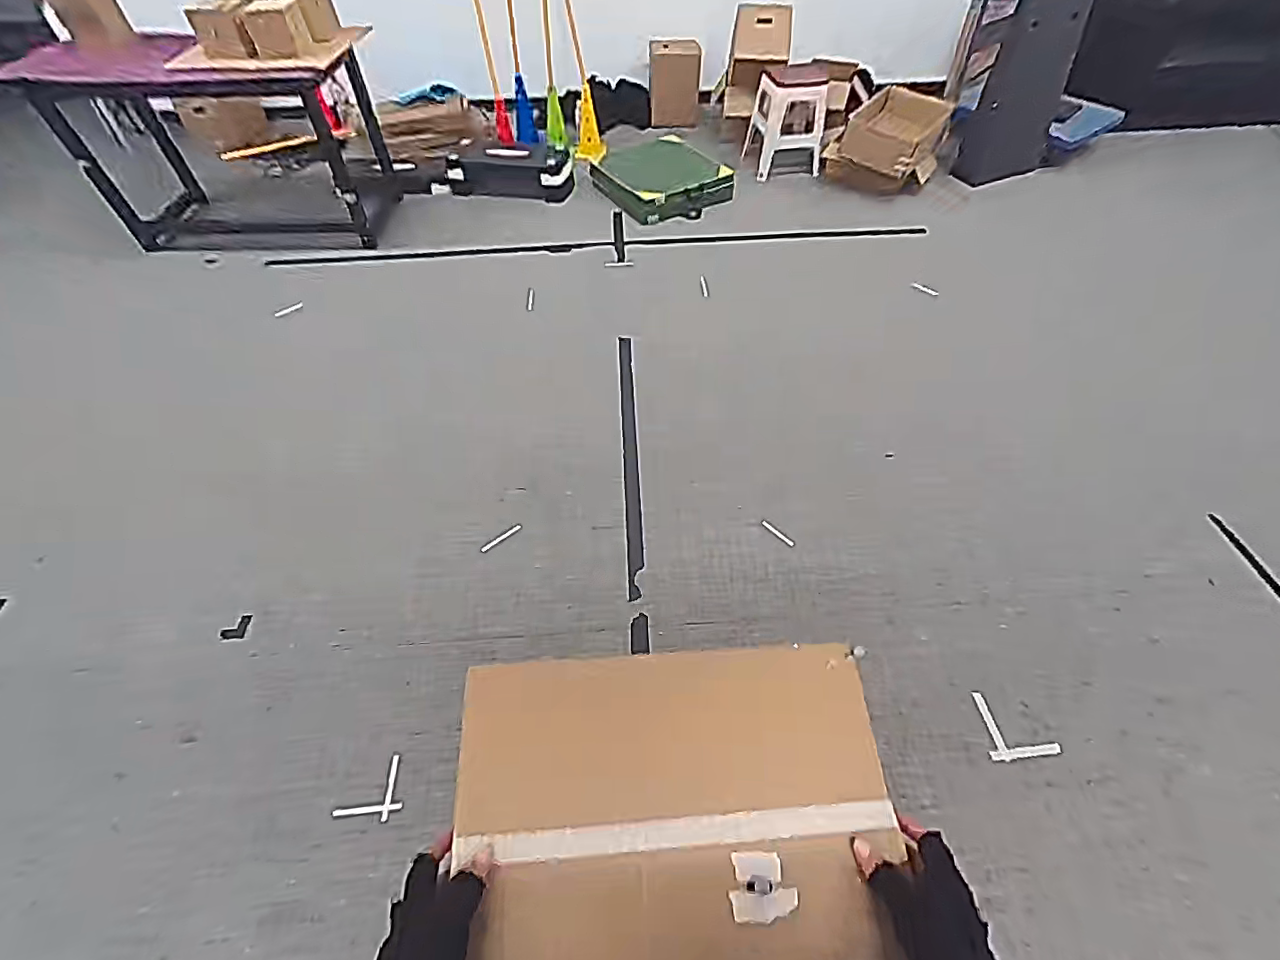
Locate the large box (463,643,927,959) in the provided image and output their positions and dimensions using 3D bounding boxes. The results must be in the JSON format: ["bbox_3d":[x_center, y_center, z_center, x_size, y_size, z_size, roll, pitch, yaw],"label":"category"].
[{"bbox_3d":[0.034,0.391,0.636,0.408,0.320,0.320,-2,63,-4],"label":"large box"}]
